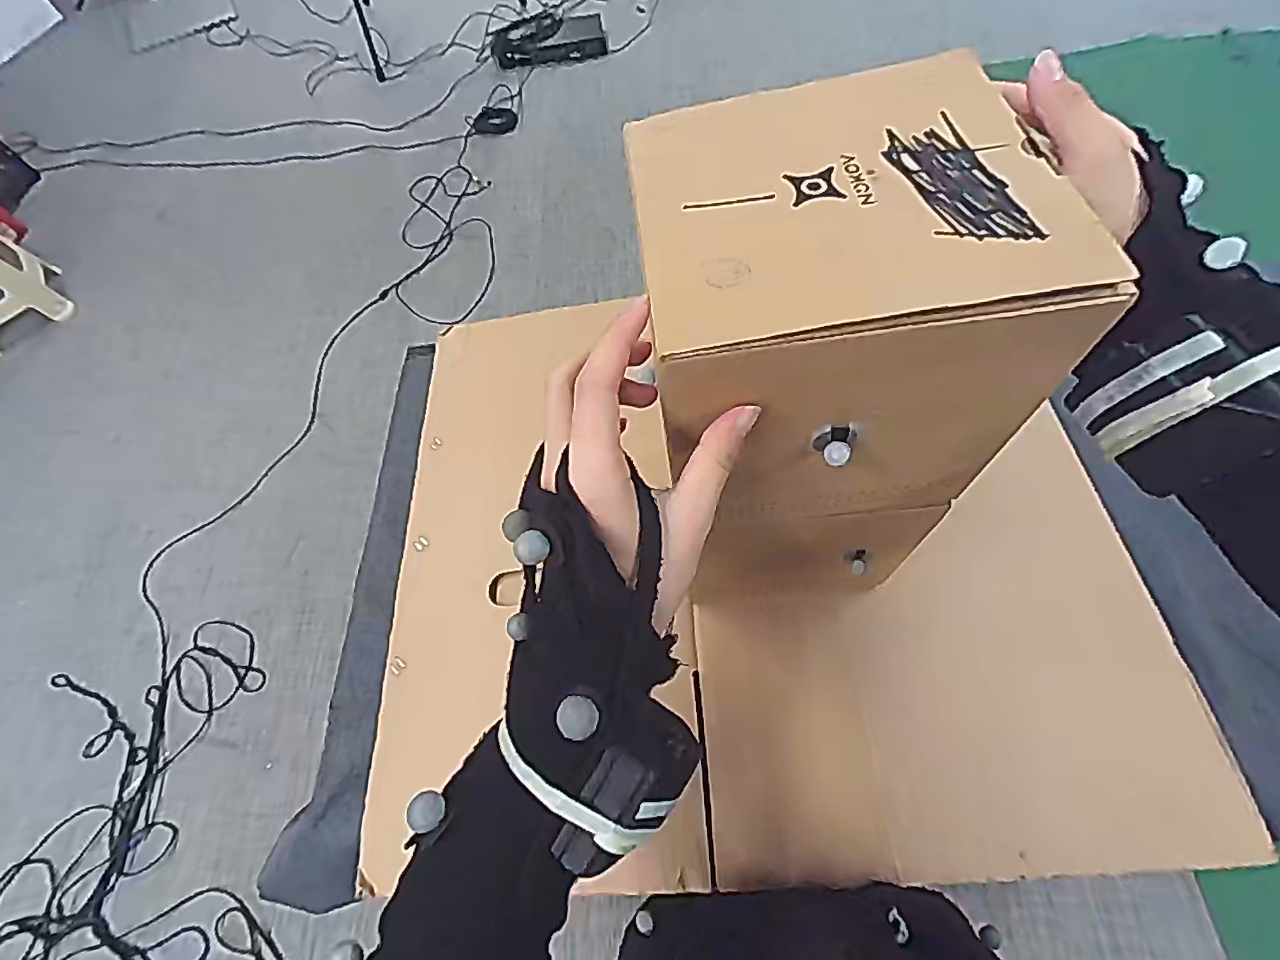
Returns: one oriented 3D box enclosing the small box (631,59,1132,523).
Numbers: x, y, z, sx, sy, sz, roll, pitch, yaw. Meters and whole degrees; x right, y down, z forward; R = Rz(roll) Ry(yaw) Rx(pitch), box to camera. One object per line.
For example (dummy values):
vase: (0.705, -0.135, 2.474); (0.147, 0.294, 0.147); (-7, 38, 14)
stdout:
small box: (0.095, -0.088, 0.306); (0.179, 0.176, 0.168); (-8, 61, 4)

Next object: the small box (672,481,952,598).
small box: (0.115, -0.009, 0.449); (0.179, 0.176, 0.168); (-7, 61, 5)
